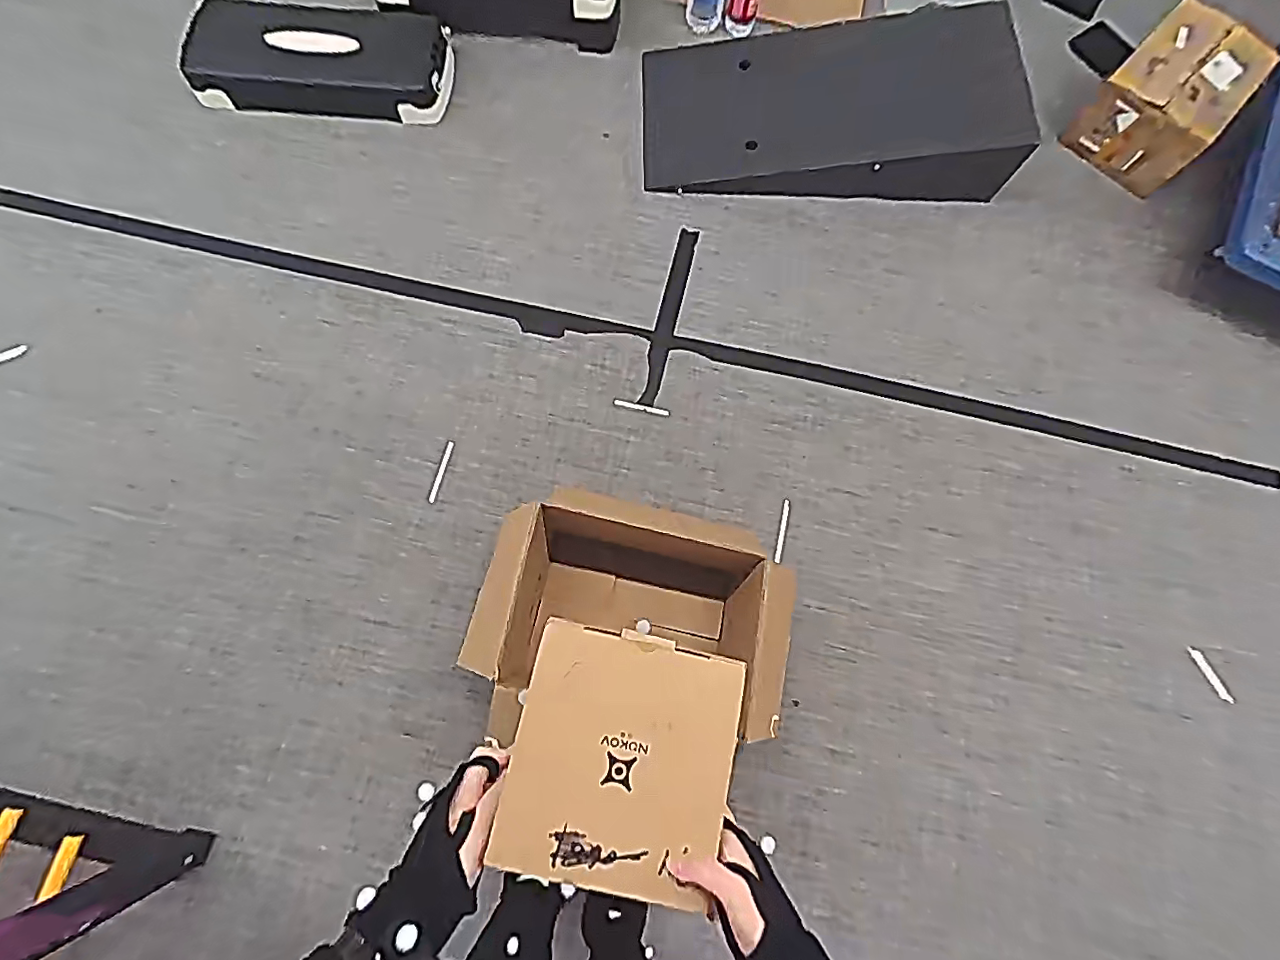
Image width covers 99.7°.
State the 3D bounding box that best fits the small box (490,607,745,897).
[{"bbox_3d":[-0.019,0.225,0.493,0.168,0.176,0.179,15,74,-1],"label":"small box"}]
